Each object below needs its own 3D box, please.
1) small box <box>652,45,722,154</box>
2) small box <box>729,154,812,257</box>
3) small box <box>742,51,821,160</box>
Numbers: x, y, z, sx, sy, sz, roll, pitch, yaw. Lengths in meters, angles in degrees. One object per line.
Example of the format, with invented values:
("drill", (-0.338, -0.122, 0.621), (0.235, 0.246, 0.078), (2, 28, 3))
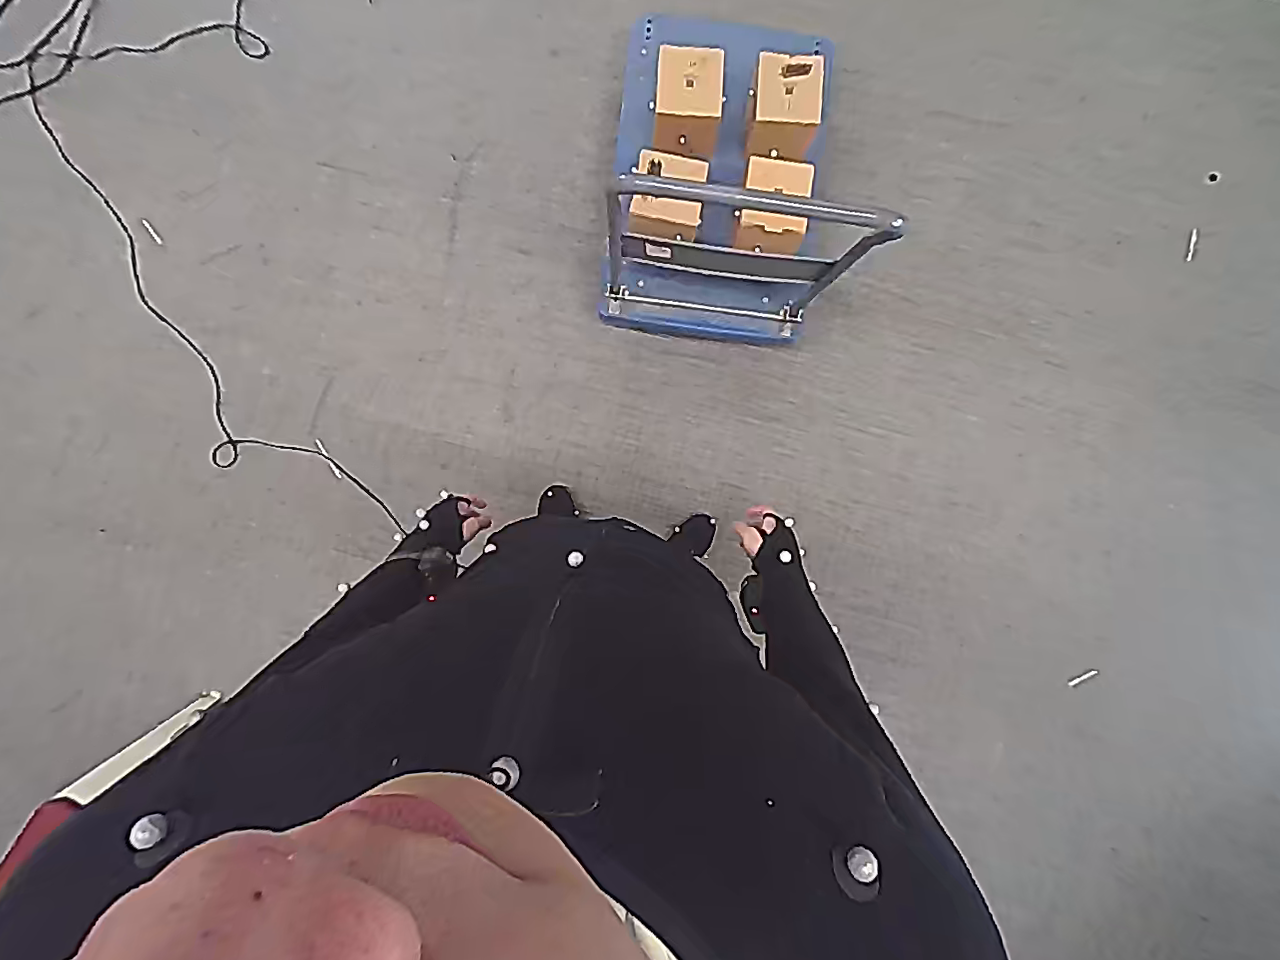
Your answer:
("small box", (0.119, -1.003, 1.439), (0.168, 0.176, 0.179), (3, 89, -2))
("small box", (0.340, -0.722, 1.438), (0.168, 0.176, 0.179), (7, 89, -1))
("small box", (0.371, -0.991, 1.443), (0.168, 0.176, 0.179), (3, 90, 0))
